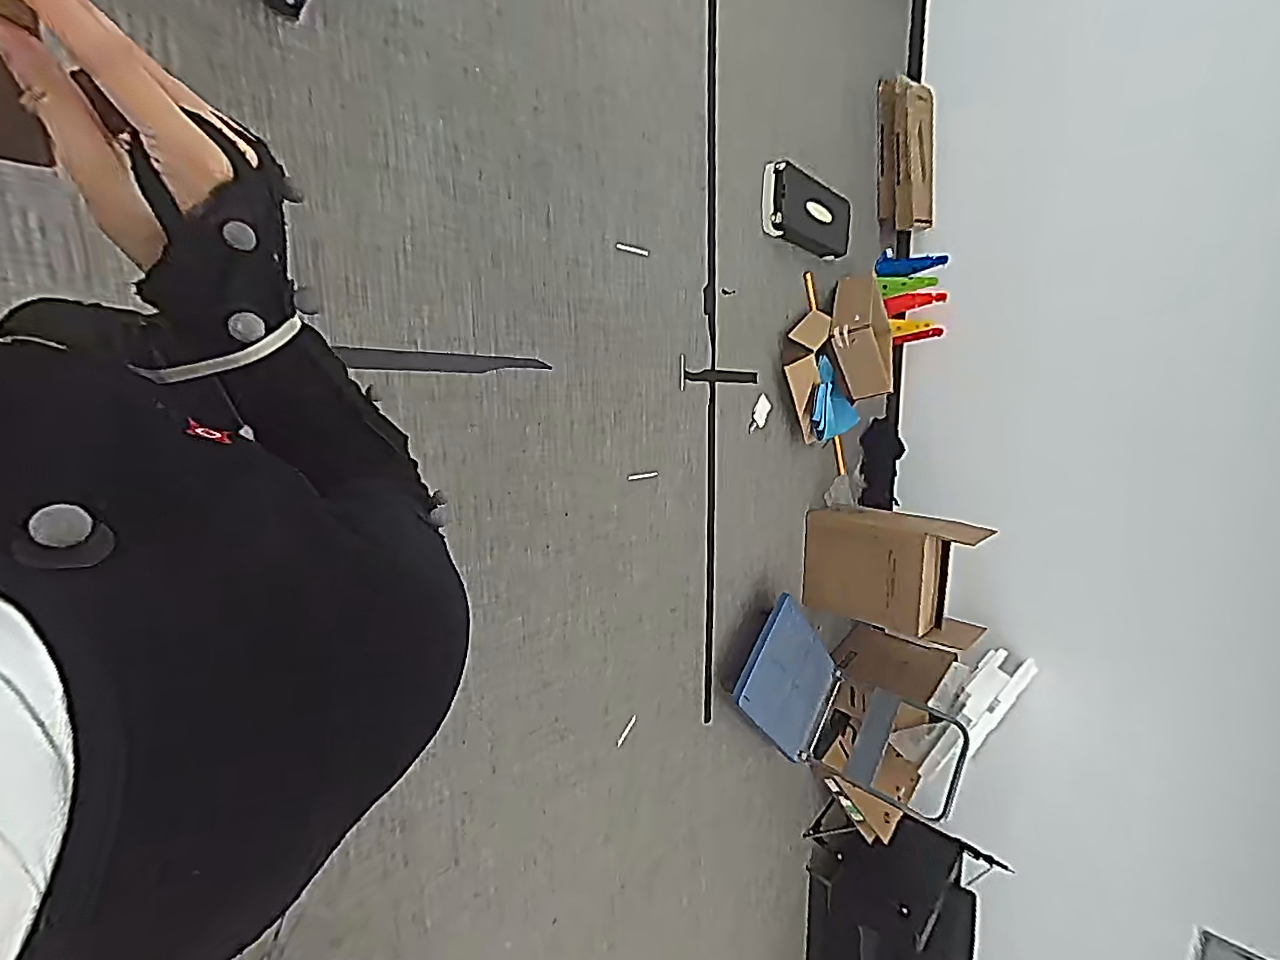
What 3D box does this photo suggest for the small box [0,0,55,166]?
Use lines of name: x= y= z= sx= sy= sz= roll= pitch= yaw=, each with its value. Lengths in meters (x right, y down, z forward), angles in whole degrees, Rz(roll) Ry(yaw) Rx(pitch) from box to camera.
small box: x=-0.346 y=-0.254 z=0.196 sx=0.168 sy=0.176 sz=0.179 roll=-10 pitch=99 yaw=-45
